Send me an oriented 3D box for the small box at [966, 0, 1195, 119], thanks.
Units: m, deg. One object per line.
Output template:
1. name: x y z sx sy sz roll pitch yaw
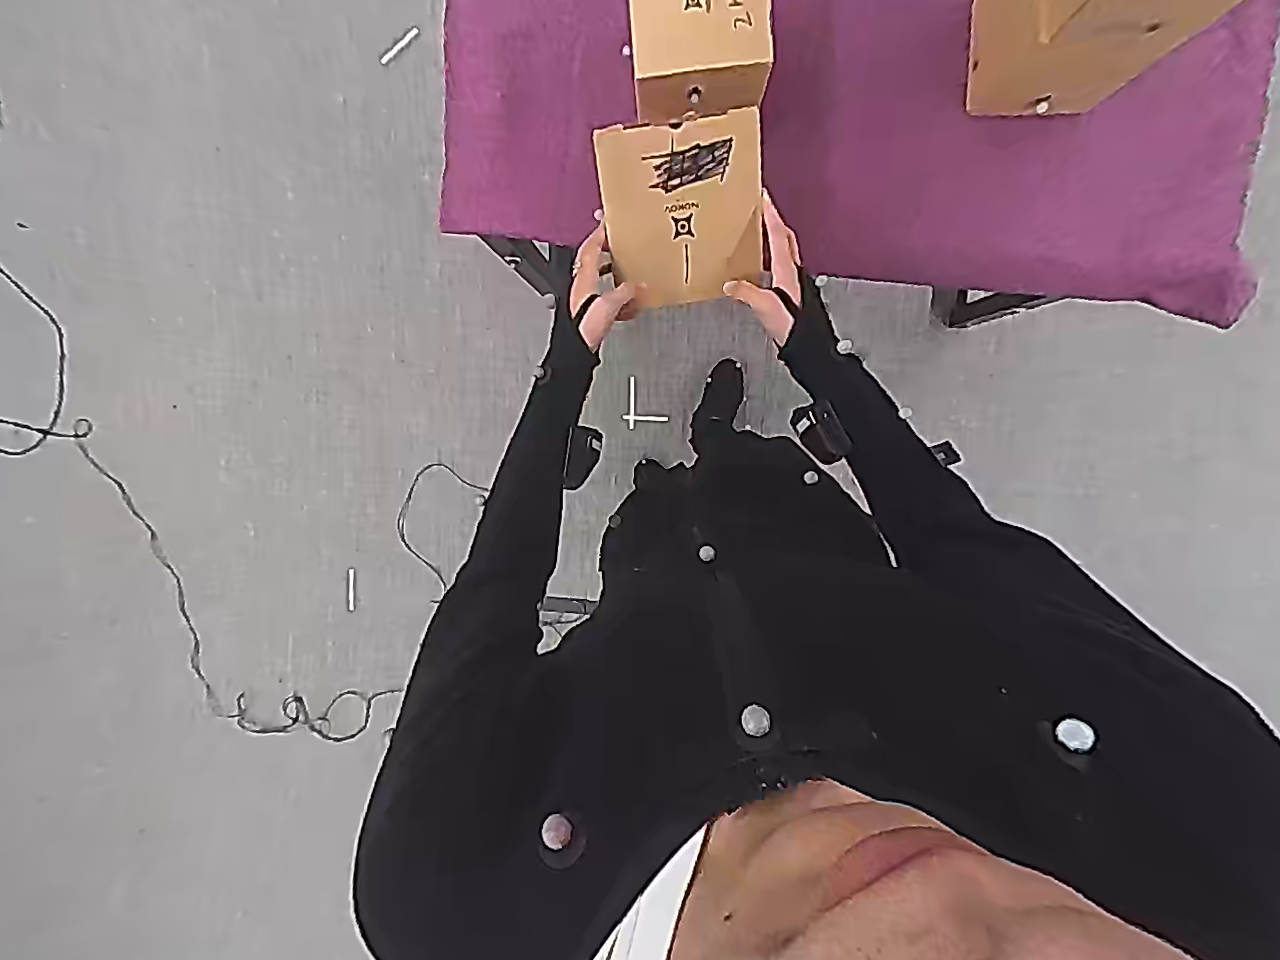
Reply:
1. small box: 0.571 -0.609 0.716 0.179 0.176 0.168 0 96 2

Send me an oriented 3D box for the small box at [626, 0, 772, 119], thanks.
1. small box: 0.076 -0.589 0.741 0.179 0.176 0.168 -4 96 3

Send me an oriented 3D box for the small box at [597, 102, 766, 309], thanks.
1. small box: 0.045 -0.308 0.624 0.168 0.176 0.179 -7 117 3
